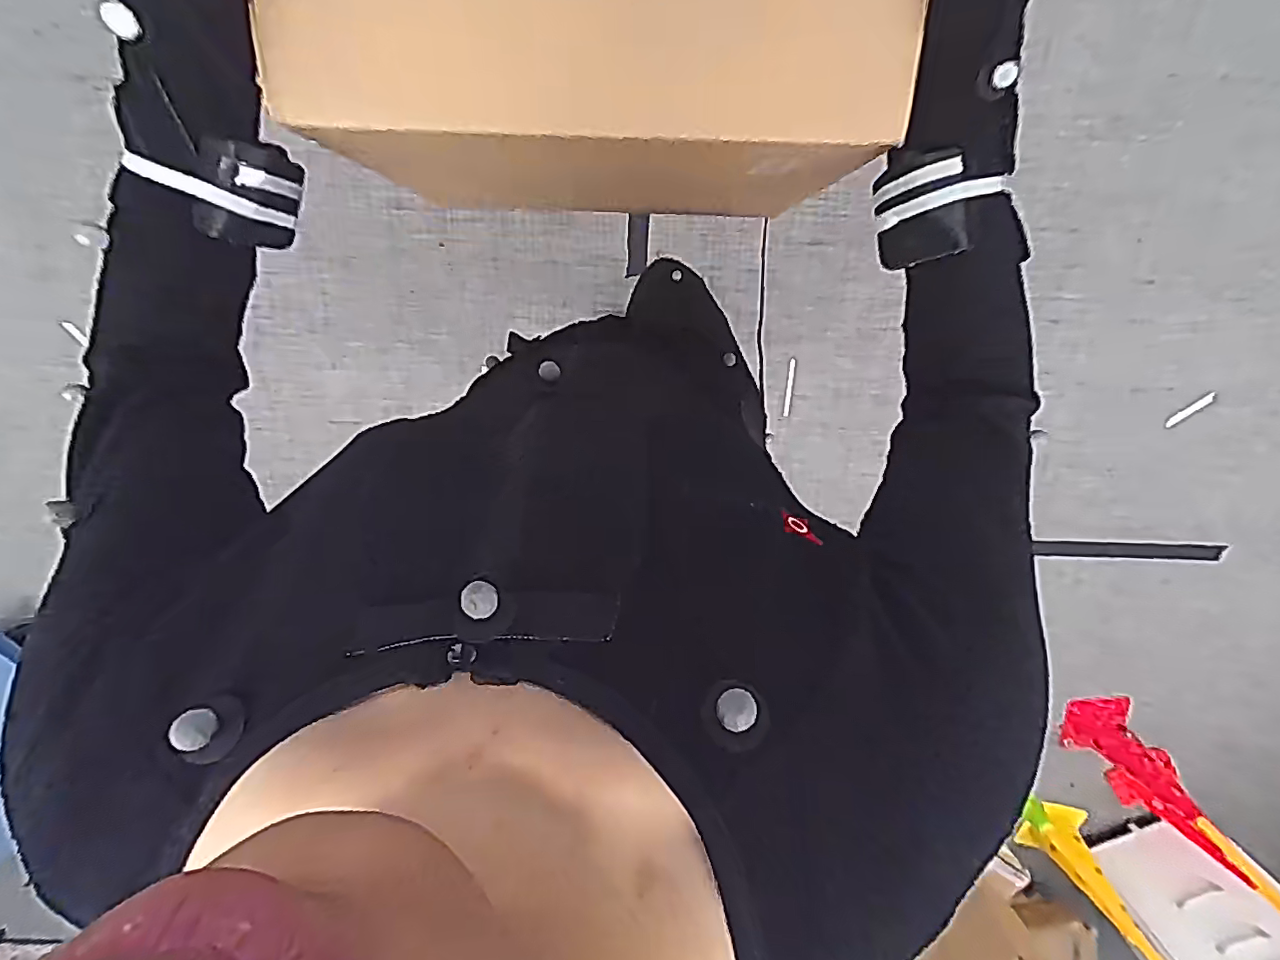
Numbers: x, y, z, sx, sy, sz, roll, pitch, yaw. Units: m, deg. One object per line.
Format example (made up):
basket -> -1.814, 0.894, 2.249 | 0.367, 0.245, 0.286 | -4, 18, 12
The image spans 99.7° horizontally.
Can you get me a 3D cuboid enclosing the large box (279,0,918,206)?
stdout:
large box -> -0.027, -0.425, 0.450 | 0.408, 0.320, 0.320 | 1, 108, -2
